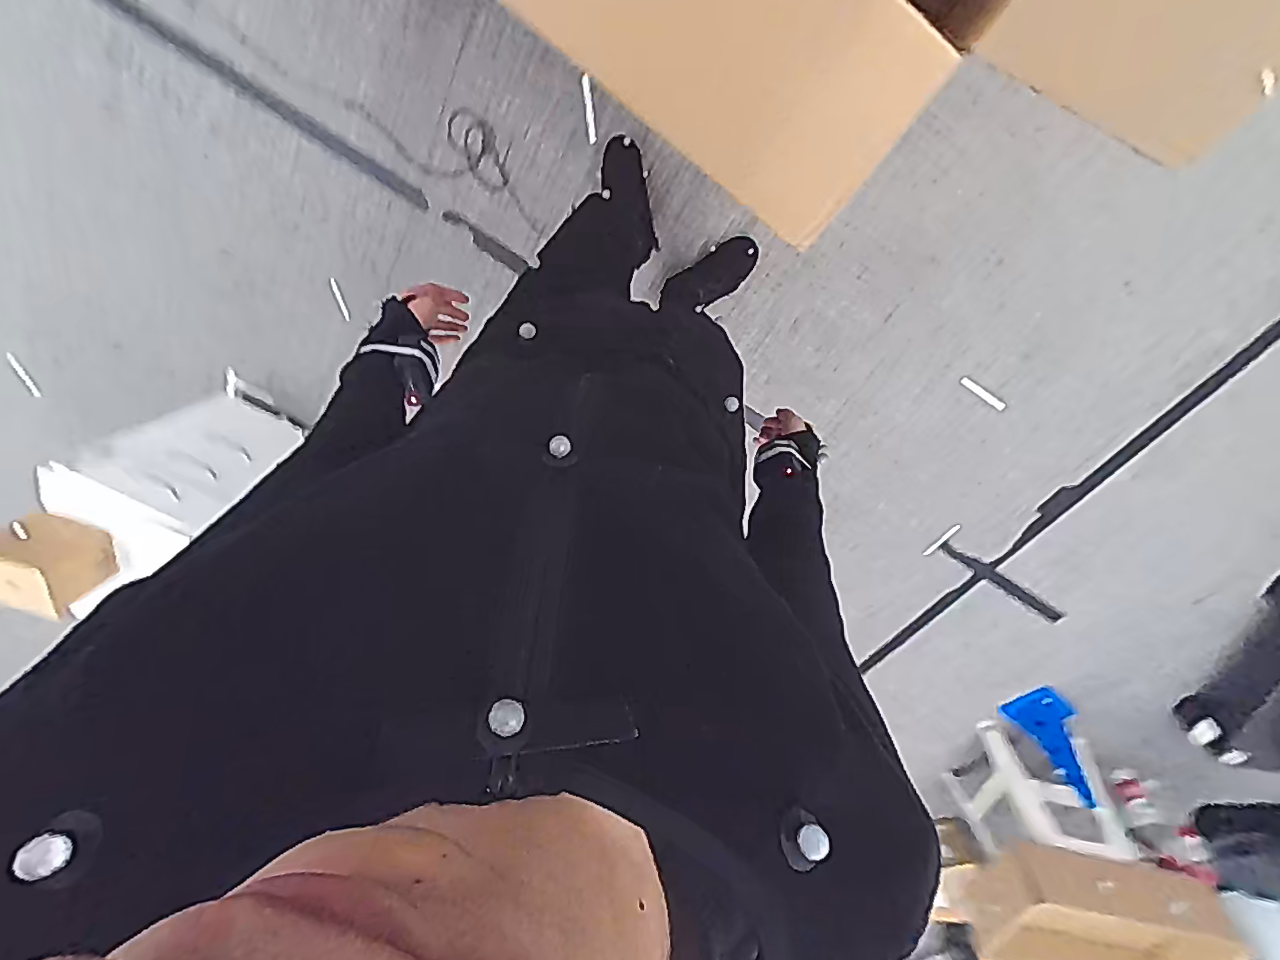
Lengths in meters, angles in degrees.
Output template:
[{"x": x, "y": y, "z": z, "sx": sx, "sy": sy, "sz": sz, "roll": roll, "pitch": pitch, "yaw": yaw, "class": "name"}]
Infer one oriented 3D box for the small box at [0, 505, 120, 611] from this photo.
[{"x": -1.449, "y": 0.184, "z": 1.327, "sx": 0.179, "sy": 0.176, "sz": 0.168, "roll": 20, "pitch": 121, "yaw": -4, "class": "small box"}]
